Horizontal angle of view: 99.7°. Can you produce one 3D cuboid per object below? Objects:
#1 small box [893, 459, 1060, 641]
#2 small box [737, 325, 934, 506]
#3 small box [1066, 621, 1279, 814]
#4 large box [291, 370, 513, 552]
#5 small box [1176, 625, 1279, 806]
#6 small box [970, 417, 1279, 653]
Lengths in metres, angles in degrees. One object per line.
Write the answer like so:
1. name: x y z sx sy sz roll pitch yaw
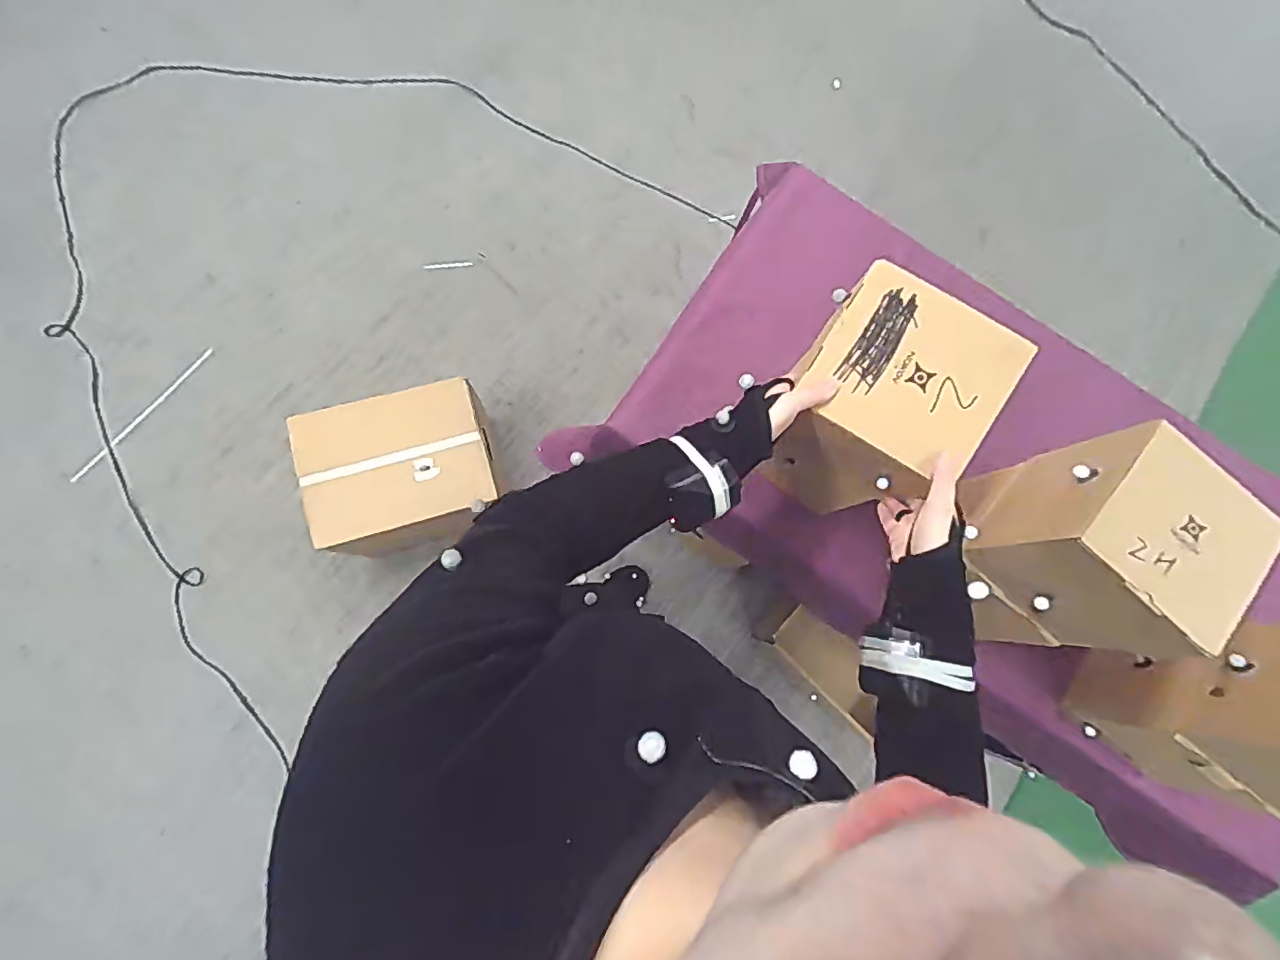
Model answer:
1. small box: 0.502 0.100 0.768 0.168 0.176 0.179 43 79 4
2. small box: 0.265 -0.079 0.778 0.179 0.176 0.168 38 78 3
3. small box: 0.749 0.305 0.750 0.168 0.176 0.179 38 77 3
4. large box: -0.568 -0.031 1.362 0.408 0.320 0.320 -16 82 -10
5. small box: 0.770 0.273 0.591 0.179 0.176 0.168 39 77 3
6. small box: 0.524 0.064 0.609 0.168 0.176 0.179 44 78 4
